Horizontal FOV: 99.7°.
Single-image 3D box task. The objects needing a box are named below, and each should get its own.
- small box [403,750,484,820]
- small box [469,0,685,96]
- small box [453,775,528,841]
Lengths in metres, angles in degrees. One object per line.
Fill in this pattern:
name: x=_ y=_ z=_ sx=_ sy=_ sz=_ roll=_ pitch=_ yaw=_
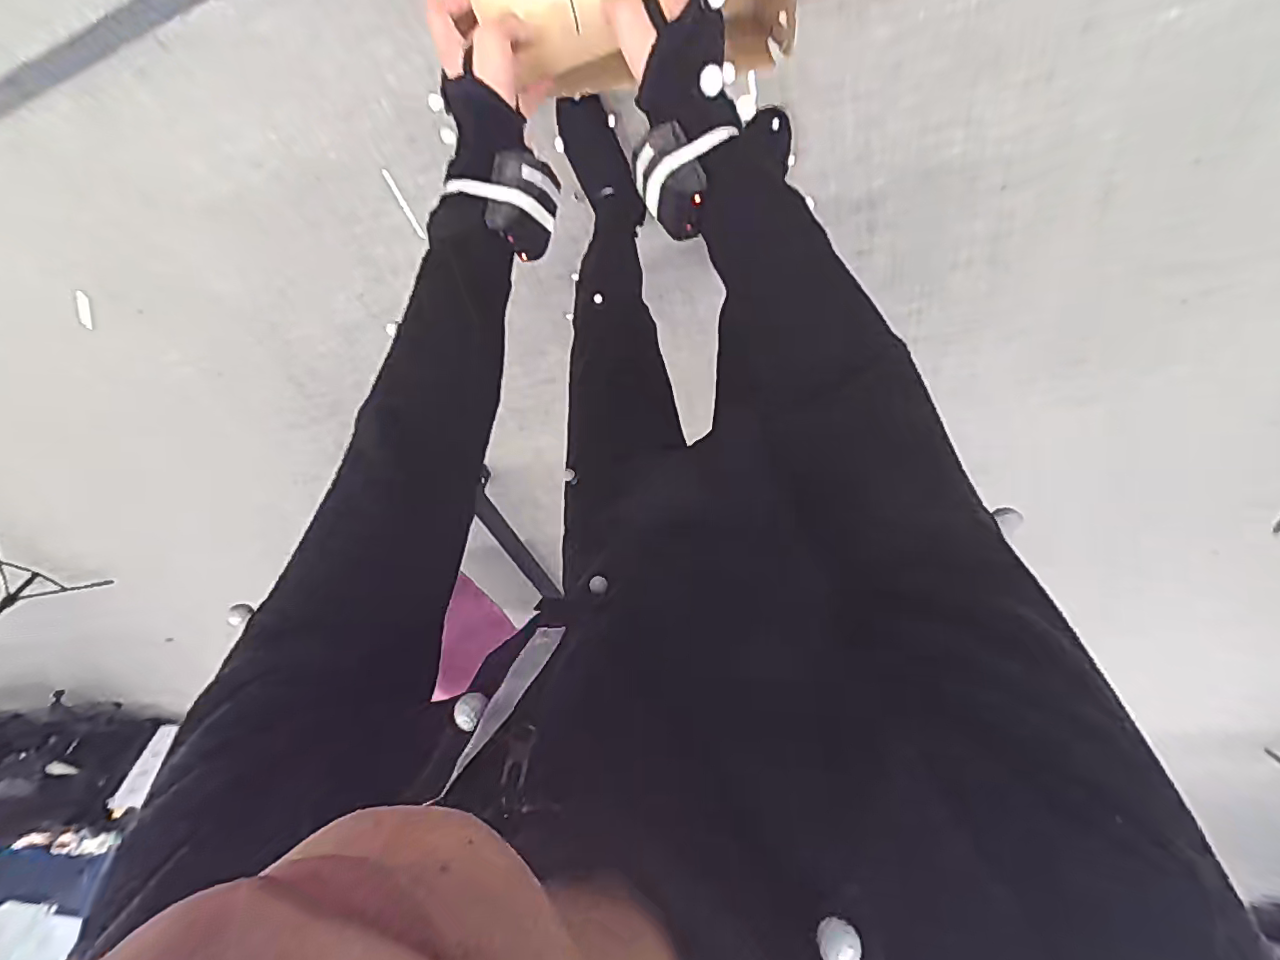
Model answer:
small box: x=-0.632 y=0.999 z=1.774 sx=0.179 sy=0.176 sz=0.168 roll=-11 pitch=133 yaw=18
small box: x=-0.062 y=-0.474 z=0.455 sx=0.168 sy=0.176 sz=0.179 roll=-9 pitch=140 yaw=17
small box: x=-0.531 y=1.181 z=1.946 sx=0.179 sy=0.176 sz=0.168 roll=-17 pitch=132 yaw=23
